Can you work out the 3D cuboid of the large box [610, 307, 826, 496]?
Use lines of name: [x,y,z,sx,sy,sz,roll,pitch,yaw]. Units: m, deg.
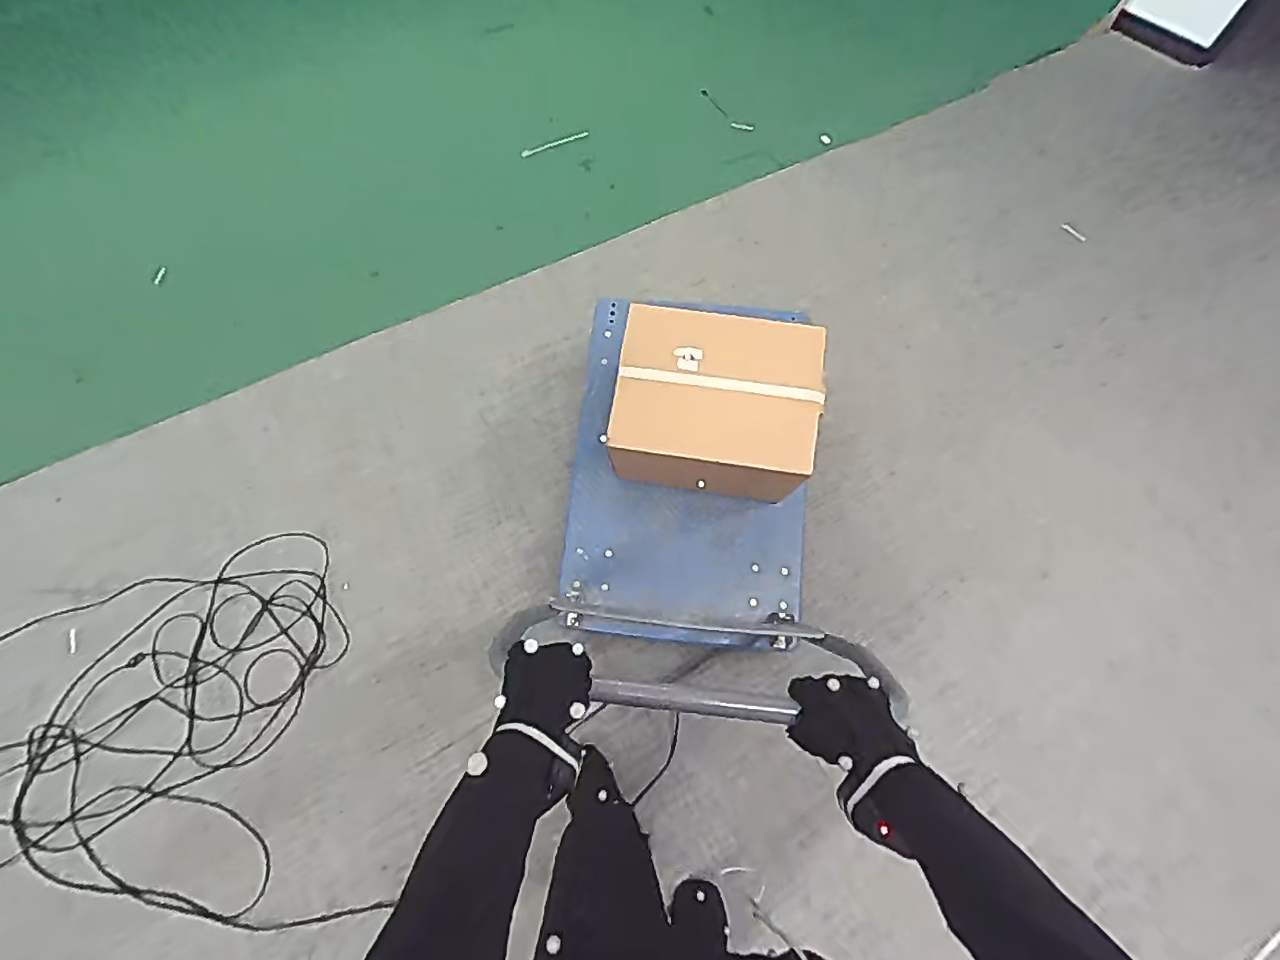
large box: [0.168,-0.157,1.213,0.408,0.320,0.320,8,78,6]
